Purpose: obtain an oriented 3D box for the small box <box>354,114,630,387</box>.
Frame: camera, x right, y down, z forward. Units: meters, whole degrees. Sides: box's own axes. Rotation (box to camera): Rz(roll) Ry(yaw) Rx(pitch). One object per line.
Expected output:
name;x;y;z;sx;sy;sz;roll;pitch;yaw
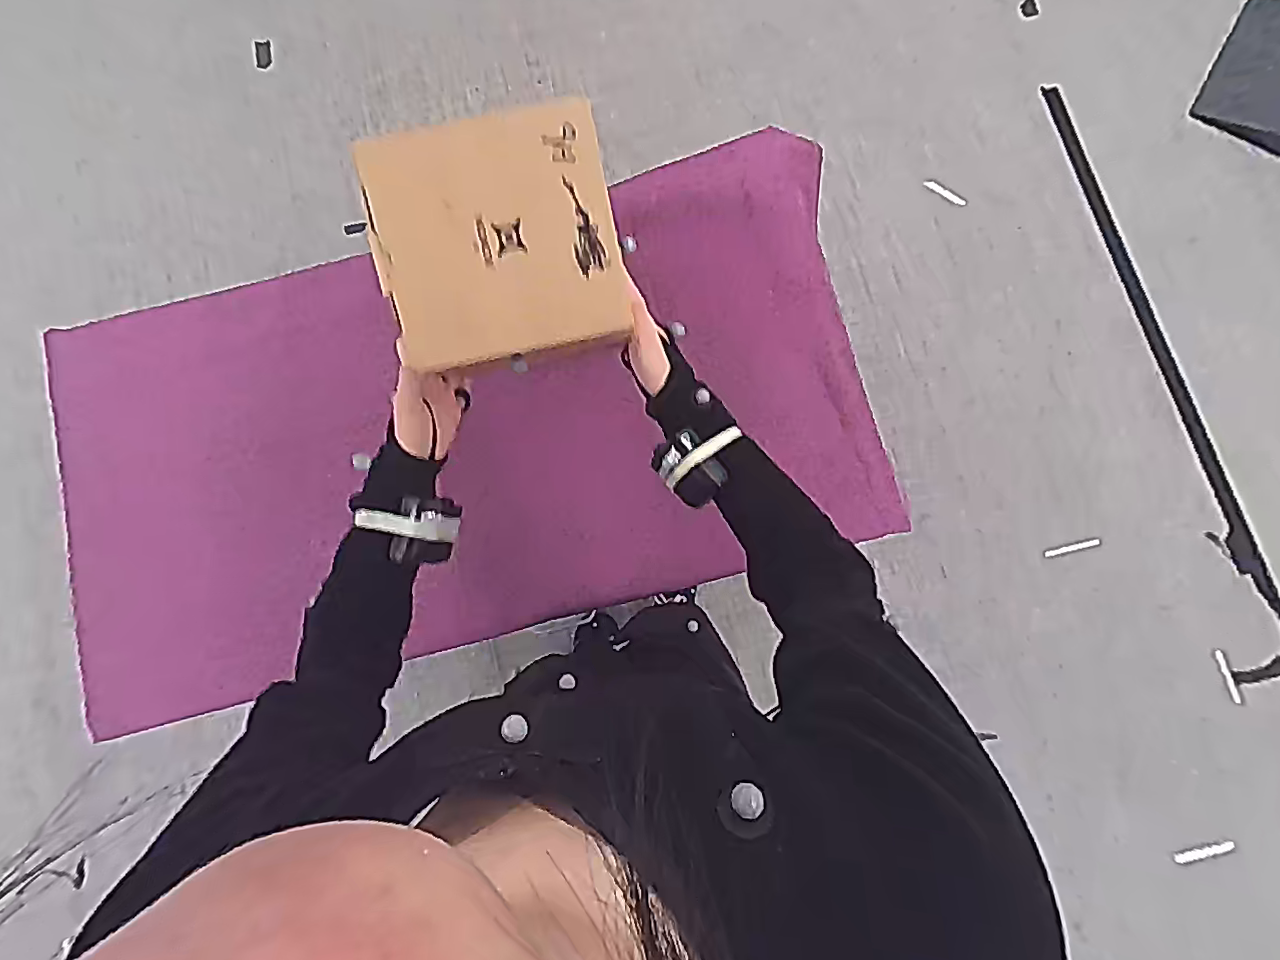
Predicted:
small box;-0.109;-0.179;0.478;0.179;0.176;0.168;-12;100;-1
